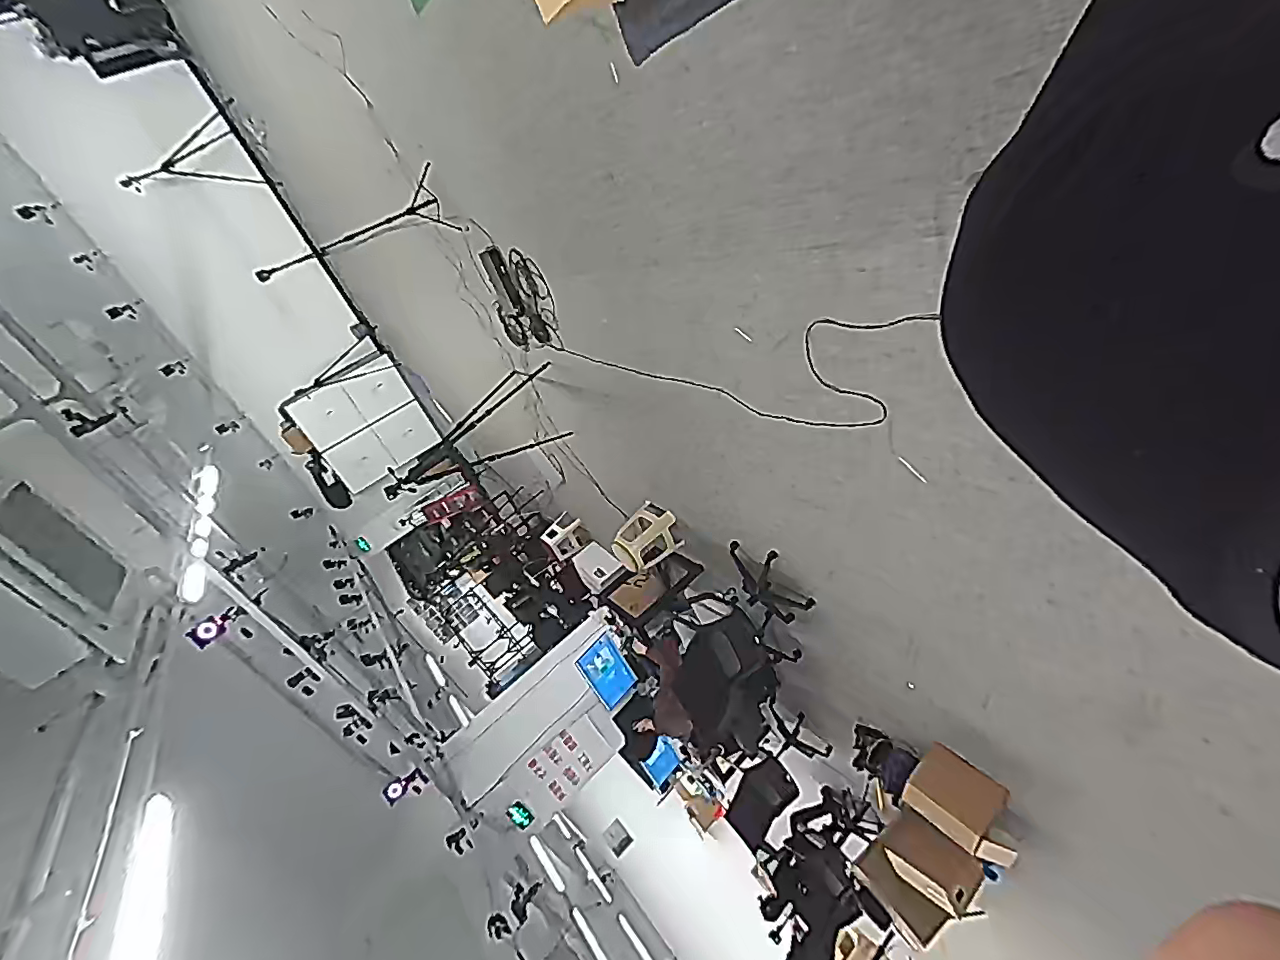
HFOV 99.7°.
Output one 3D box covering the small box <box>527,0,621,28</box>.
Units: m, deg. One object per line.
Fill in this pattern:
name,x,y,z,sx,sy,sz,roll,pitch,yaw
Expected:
small box,-0.093,-0.857,0.838,0.168,0.176,0.179,21,143,52
